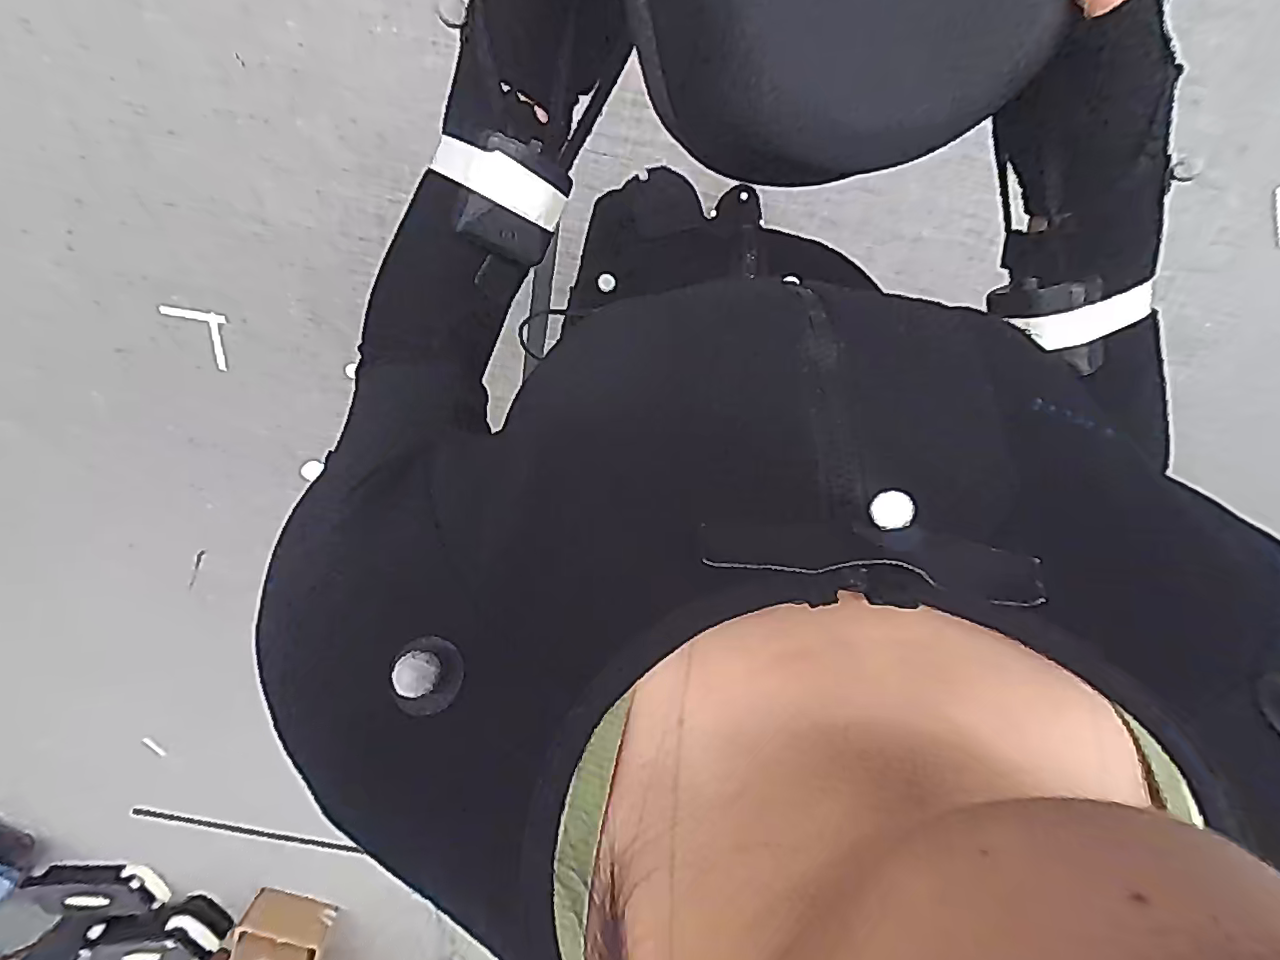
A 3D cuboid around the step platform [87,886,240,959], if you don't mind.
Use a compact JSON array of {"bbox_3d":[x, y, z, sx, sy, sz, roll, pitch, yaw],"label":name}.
[{"bbox_3d":[-2.525,2.363,2.863,0.684,0.204,0.286,-16,115,10],"label":"step platform"}]
